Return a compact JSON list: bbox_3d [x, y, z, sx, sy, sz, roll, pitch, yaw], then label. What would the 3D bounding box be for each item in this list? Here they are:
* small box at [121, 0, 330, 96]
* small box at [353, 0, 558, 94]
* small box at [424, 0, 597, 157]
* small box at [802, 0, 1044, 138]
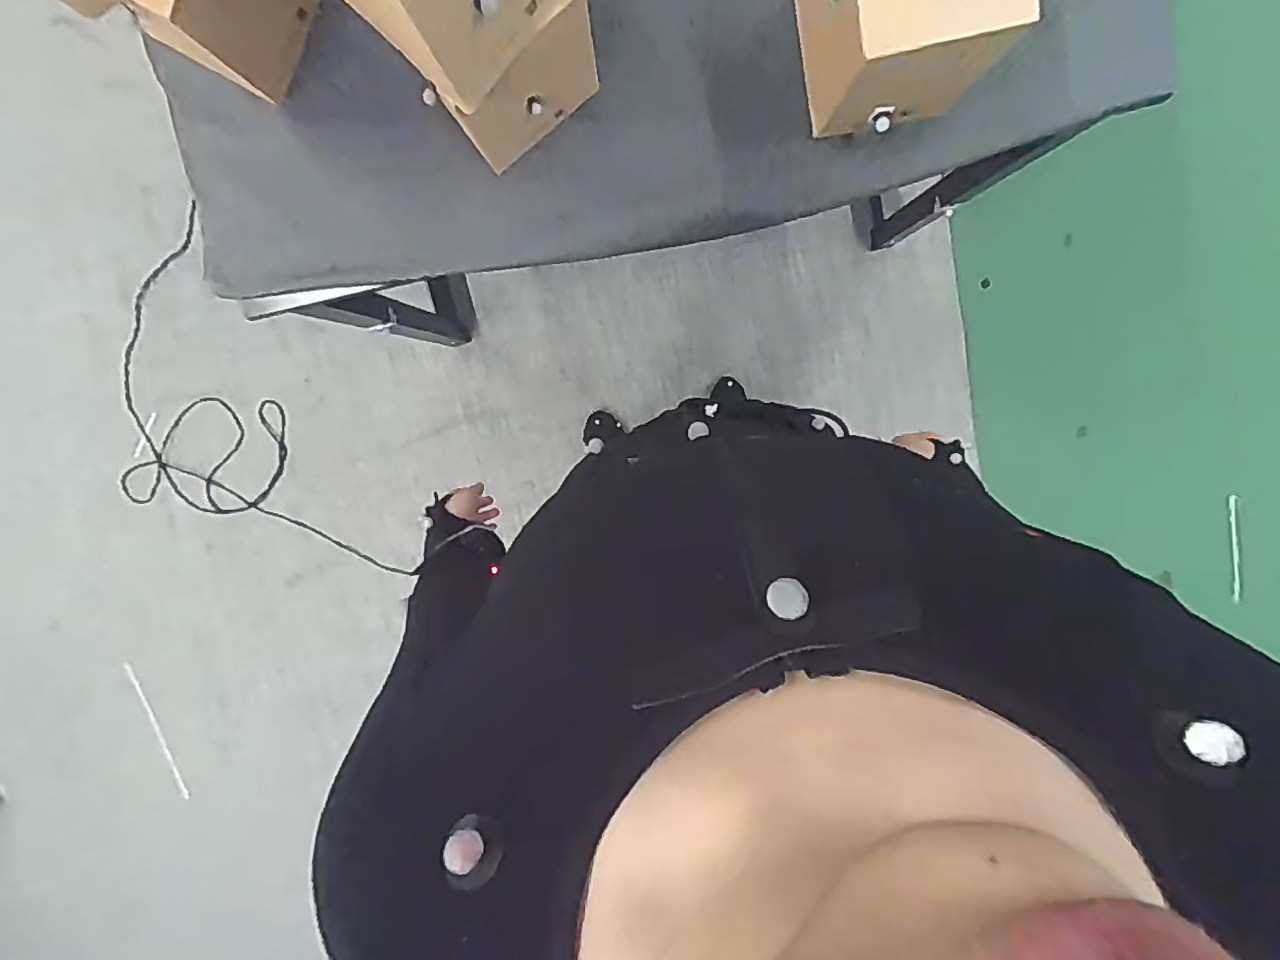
[{"bbox_3d":[-0.483,-0.565,0.581,0.179,0.176,0.168,28,99,-4],"label":"small box"},{"bbox_3d":[-0.171,-0.456,0.427,0.179,0.176,0.168,42,98,-5],"label":"small box"},{"bbox_3d":[-0.163,-0.490,0.586,0.168,0.176,0.179,-37,96,6],"label":"small box"},{"bbox_3d":[0.281,-0.507,0.573,0.168,0.176,0.179,-11,98,4],"label":"small box"}]
